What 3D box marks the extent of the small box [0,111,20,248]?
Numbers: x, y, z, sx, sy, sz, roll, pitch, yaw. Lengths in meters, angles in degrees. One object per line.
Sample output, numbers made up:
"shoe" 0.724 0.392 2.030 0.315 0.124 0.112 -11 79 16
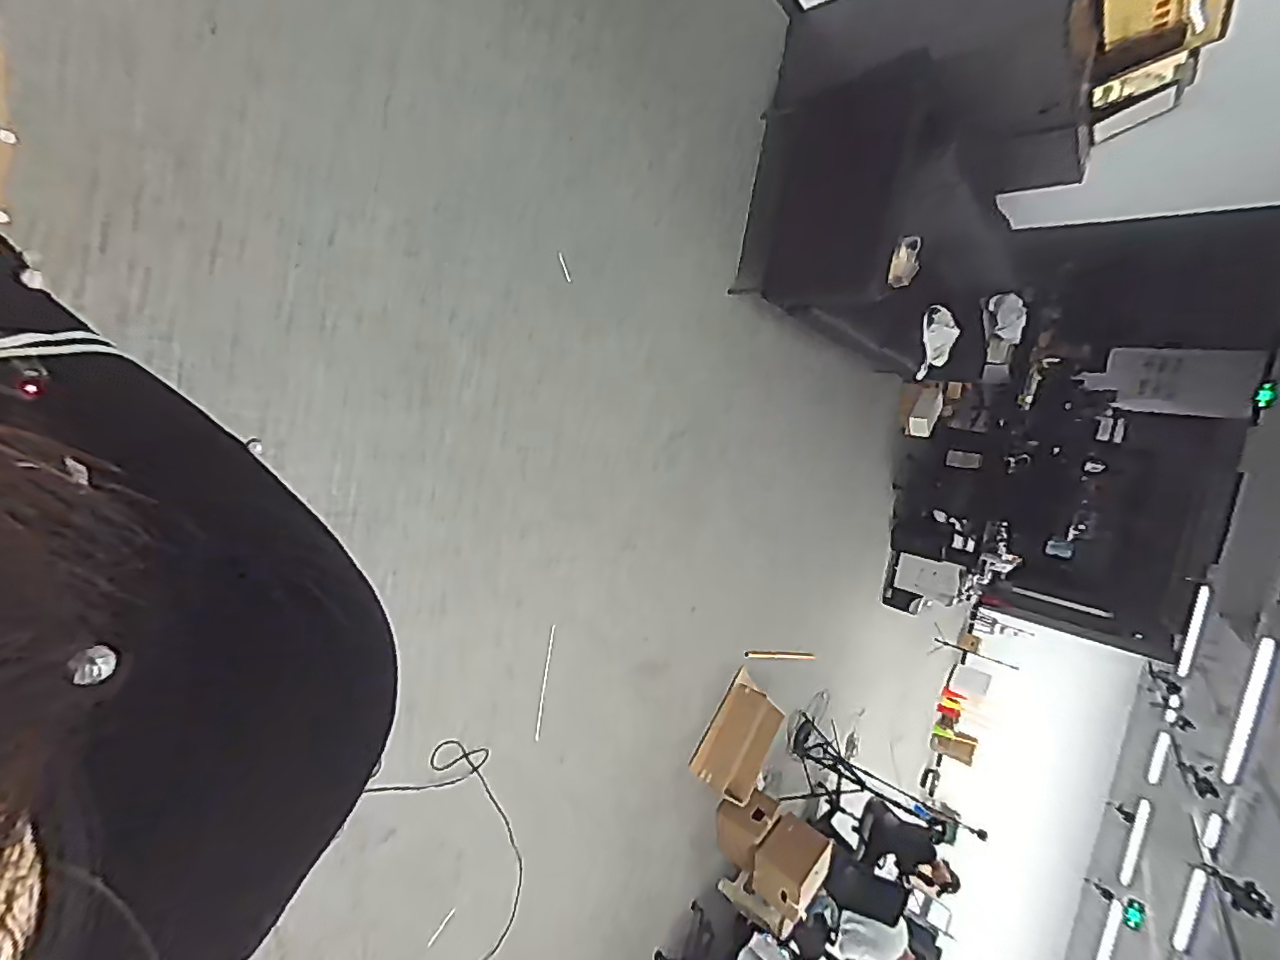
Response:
"small box" -0.755 -0.306 0.535 0.168 0.176 0.179 13 91 -48
